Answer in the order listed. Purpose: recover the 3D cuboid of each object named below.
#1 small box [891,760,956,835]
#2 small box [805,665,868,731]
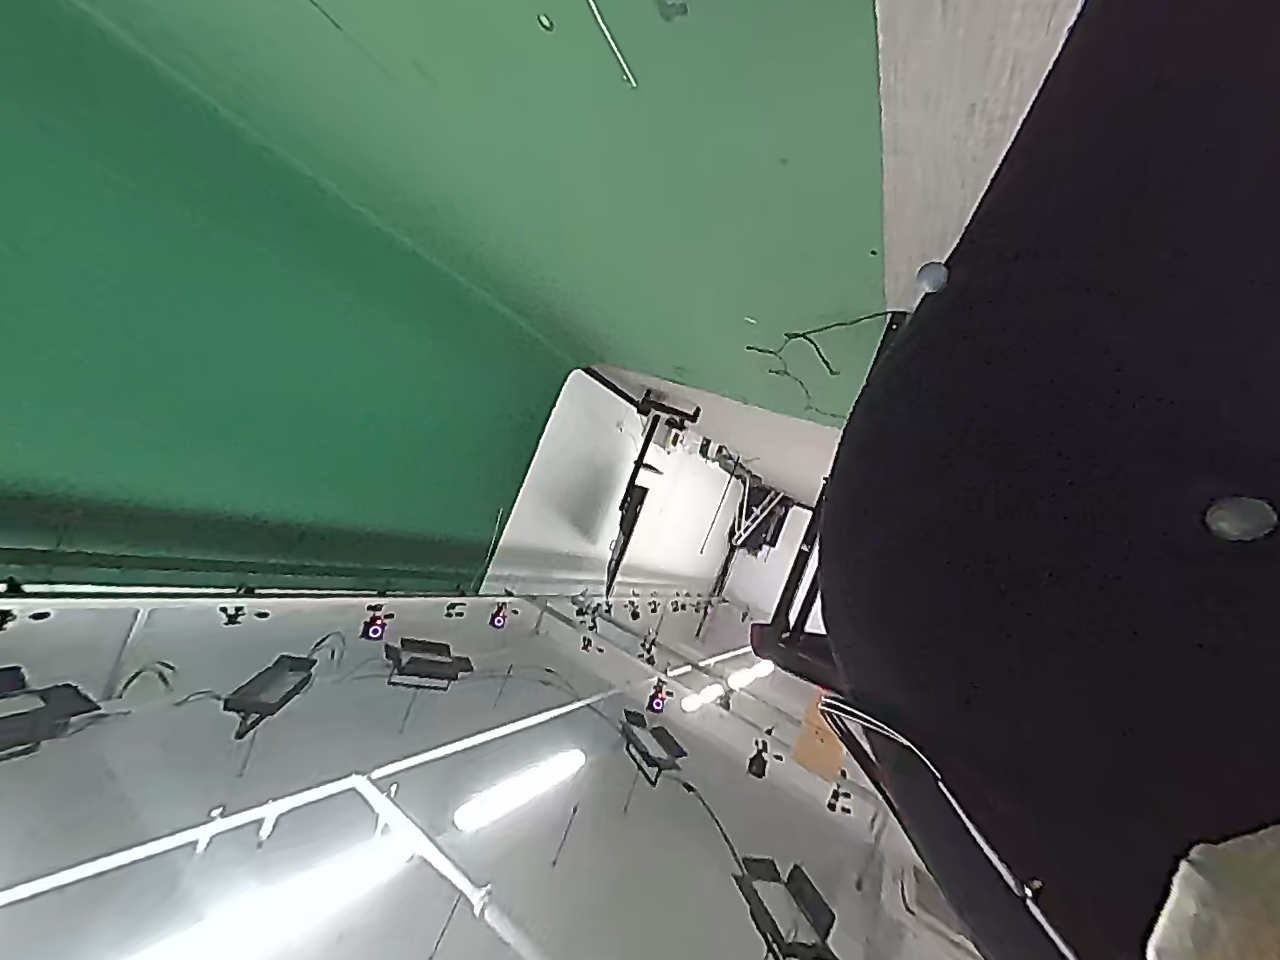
[{"bbox_3d":[1.022,1.123,1.952,0.168,0.176,0.179,23,-179,28],"label":"small box"},{"bbox_3d":[0.776,0.850,2.130,0.179,0.176,0.168,22,-178,30],"label":"small box"}]
